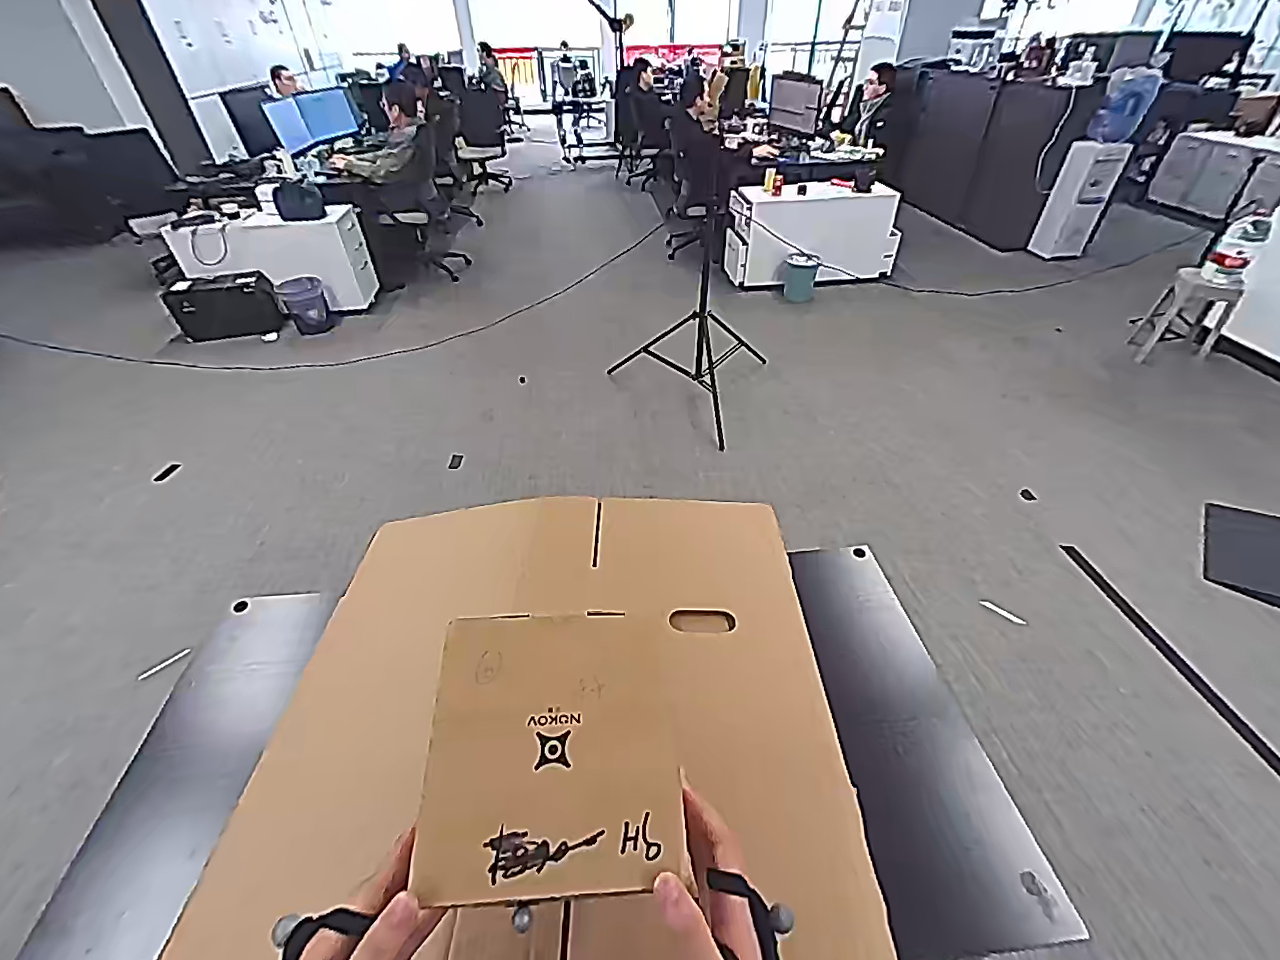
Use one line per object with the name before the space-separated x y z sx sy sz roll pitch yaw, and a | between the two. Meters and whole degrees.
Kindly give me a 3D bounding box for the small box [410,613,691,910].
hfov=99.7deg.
small box | -0.060 0.222 0.426 0.168 0.176 0.179 -1 52 -5
